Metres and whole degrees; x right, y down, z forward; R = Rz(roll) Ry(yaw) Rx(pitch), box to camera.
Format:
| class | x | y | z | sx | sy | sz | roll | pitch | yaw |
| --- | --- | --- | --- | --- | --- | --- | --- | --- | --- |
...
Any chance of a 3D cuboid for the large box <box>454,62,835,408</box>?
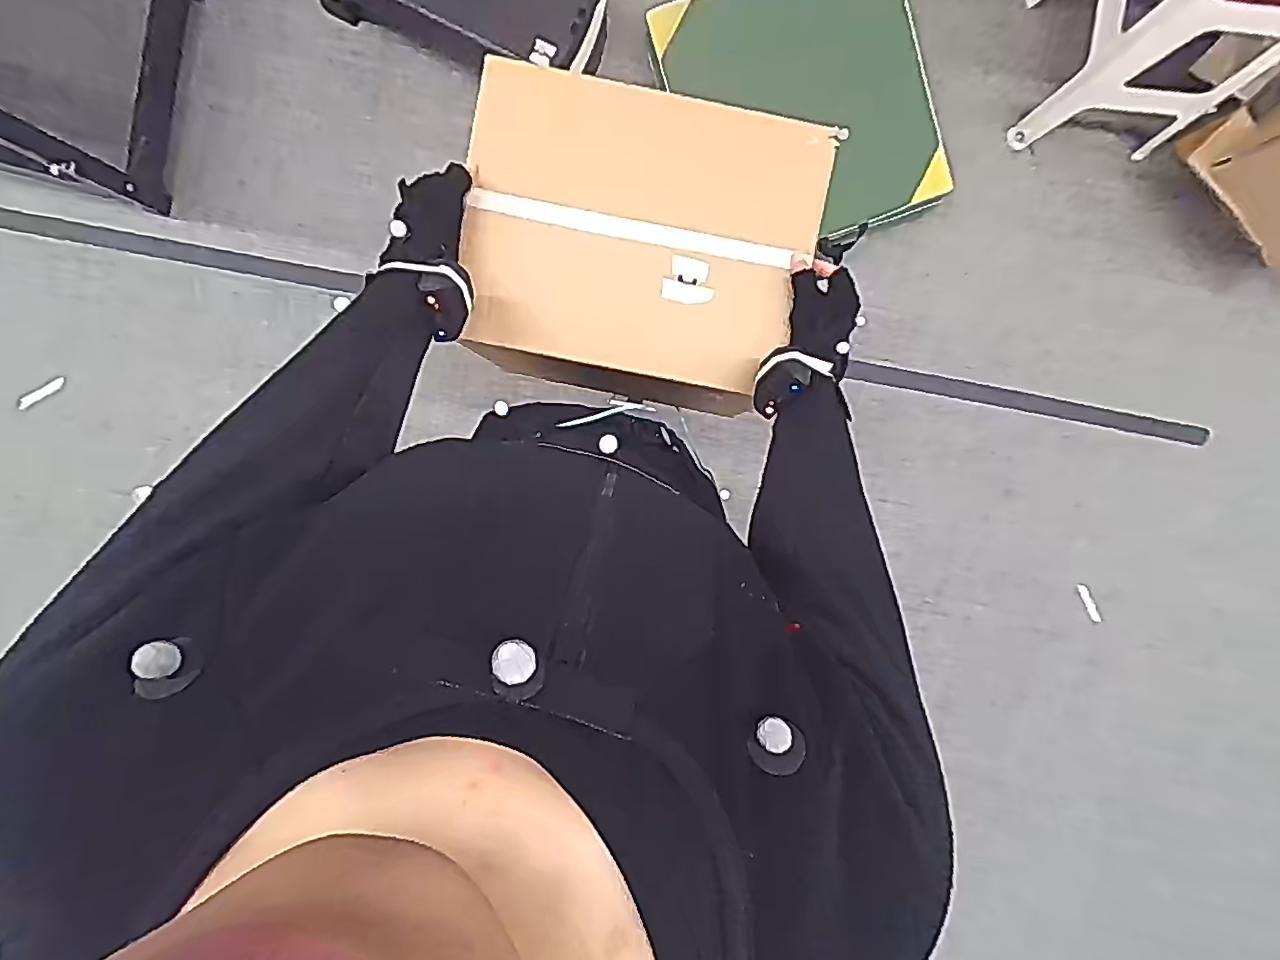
| class | x | y | z | sx | sy | sz | roll | pitch | yaw |
| --- | --- | --- | --- | --- | --- | --- | --- | --- | --- |
| large box | -0.001 | -0.299 | 0.773 | 0.408 | 0.320 | 0.320 | 11 | 94 | -2 |
